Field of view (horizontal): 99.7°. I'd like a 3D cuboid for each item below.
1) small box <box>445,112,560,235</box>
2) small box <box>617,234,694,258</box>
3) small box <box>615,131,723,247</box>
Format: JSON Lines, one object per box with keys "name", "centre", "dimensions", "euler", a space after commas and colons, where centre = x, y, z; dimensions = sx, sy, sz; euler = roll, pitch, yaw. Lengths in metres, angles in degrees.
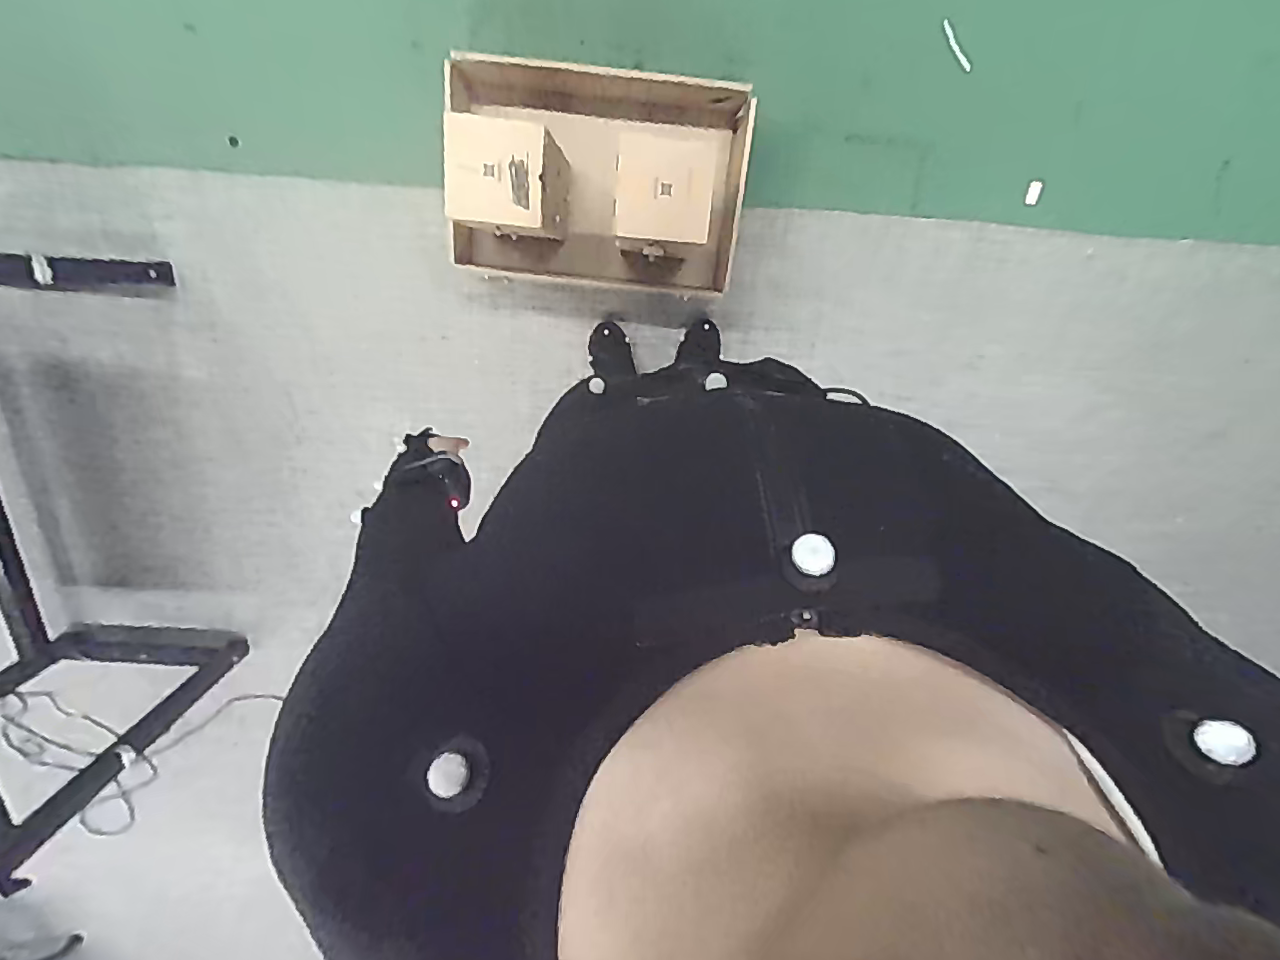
{"name": "small box", "centre": [-0.248, -0.558, 1.008], "dimensions": [0.179, 0.176, 0.168], "euler": [6, 109, -1]}
{"name": "small box", "centre": [0.045, -0.586, 1.174], "dimensions": [0.168, 0.176, 0.179], "euler": [7, 111, -2]}
{"name": "small box", "centre": [0.050, -0.537, 1.018], "dimensions": [0.179, 0.176, 0.168], "euler": [4, 111, -1]}
